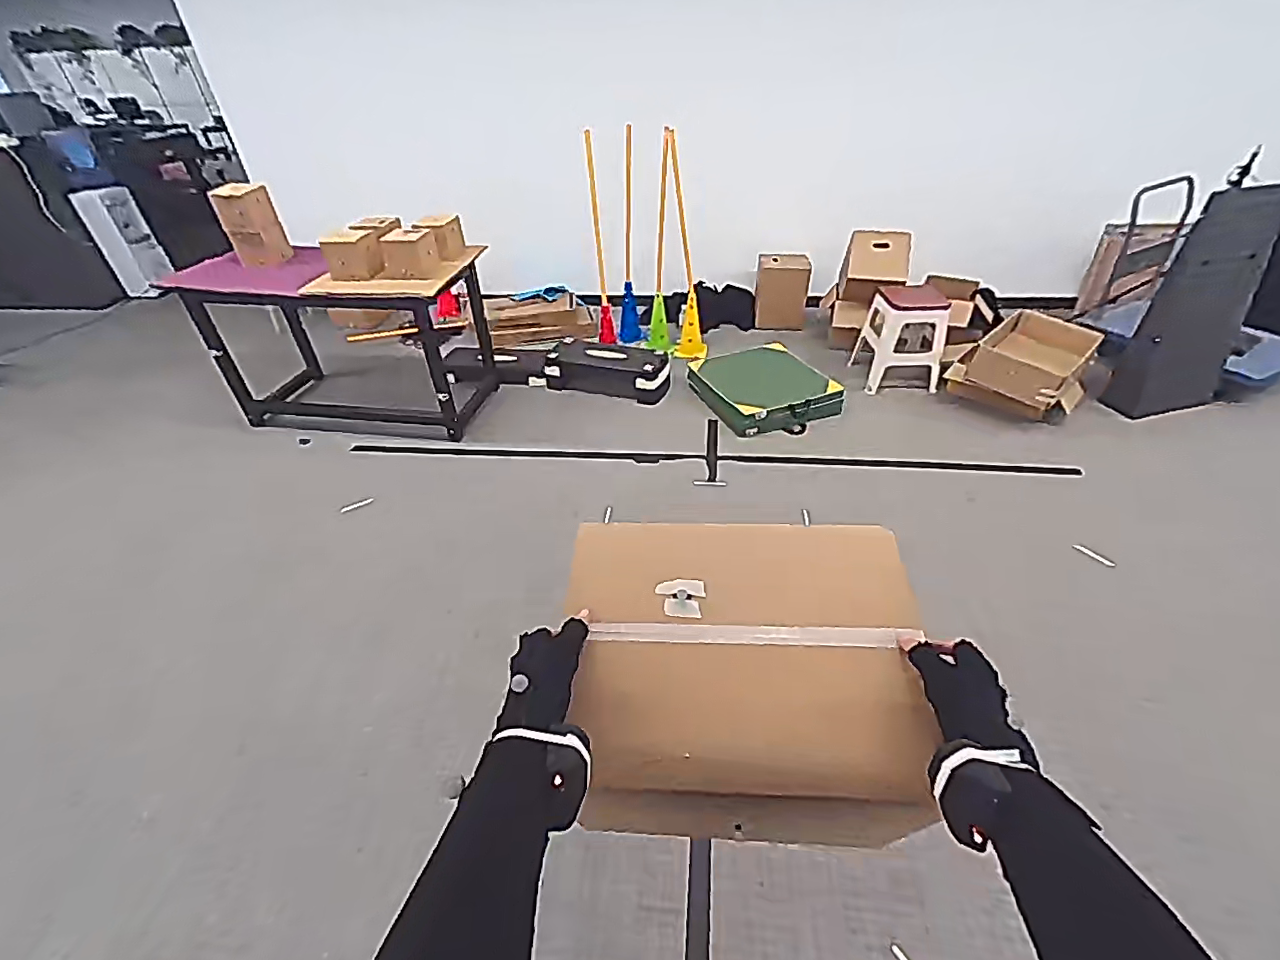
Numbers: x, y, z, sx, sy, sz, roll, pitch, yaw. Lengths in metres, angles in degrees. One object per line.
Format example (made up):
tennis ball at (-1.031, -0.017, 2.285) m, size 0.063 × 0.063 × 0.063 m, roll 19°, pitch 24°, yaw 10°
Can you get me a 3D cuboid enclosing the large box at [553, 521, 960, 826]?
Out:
large box at (0.127, 0.269, 0.737) m, size 0.408 × 0.320 × 0.320 m, roll 0°, pitch 50°, yaw 5°
